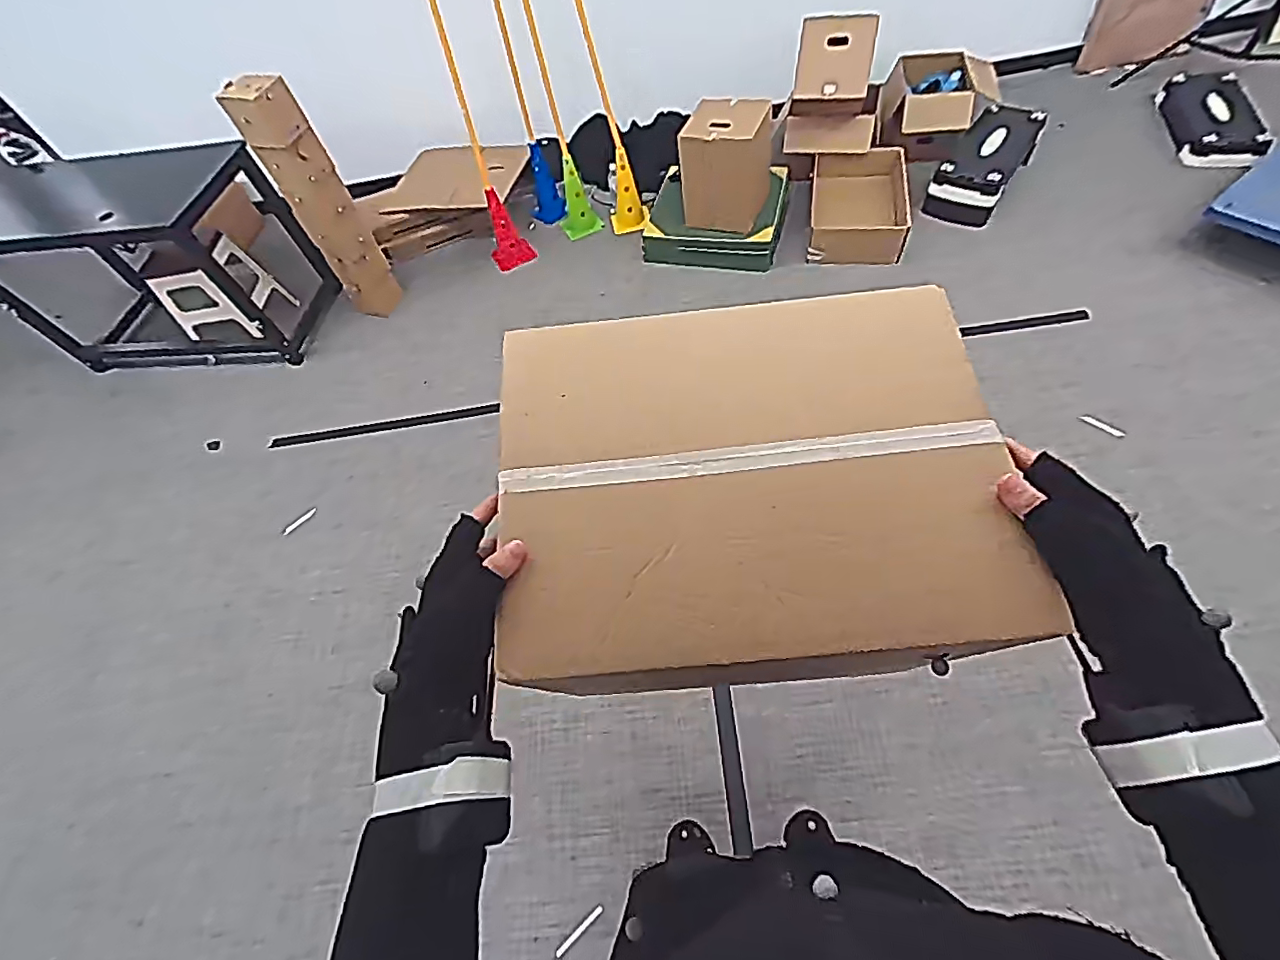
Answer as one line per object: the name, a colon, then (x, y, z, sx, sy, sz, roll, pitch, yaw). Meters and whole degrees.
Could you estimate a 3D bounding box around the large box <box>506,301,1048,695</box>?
large box: (0.097, 0.050, 0.586, 0.408, 0.320, 0.320, -5, 66, 2)

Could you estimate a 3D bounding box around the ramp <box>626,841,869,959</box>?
ramp: (0.256, 1.278, 1.007, 0.509, 0.206, 0.991, -8, 57, 2)
